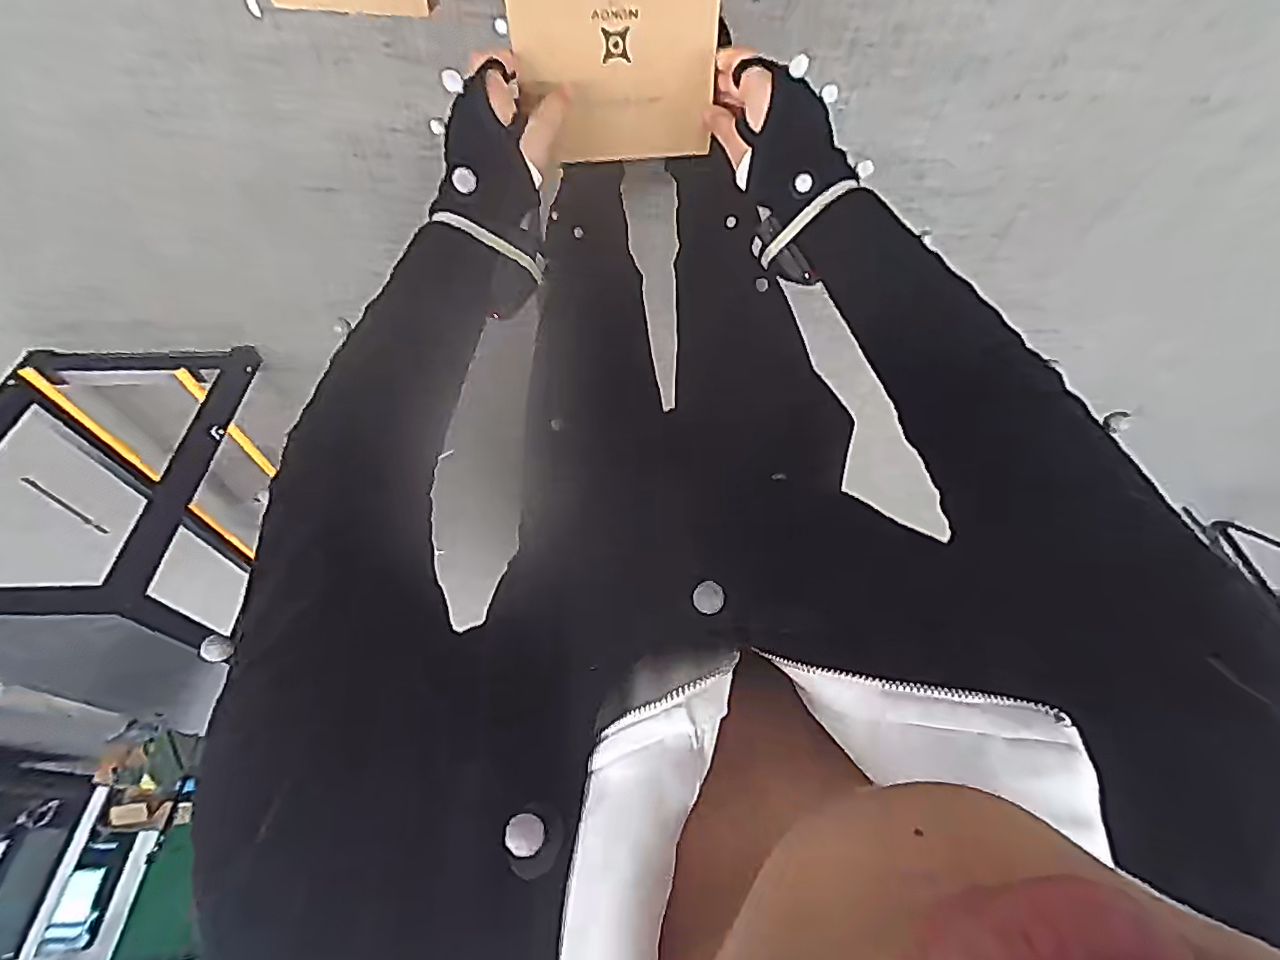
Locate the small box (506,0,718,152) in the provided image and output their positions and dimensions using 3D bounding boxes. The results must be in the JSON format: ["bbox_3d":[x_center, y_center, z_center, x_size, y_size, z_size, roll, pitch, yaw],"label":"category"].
[{"bbox_3d":[-0.028,-0.417,0.474,0.168,0.176,0.179,-5,141,-2],"label":"small box"}]

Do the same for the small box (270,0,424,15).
[{"bbox_3d":[-0.325,-0.640,0.583,0.179,0.176,0.168,0,146,-5],"label":"small box"}]
